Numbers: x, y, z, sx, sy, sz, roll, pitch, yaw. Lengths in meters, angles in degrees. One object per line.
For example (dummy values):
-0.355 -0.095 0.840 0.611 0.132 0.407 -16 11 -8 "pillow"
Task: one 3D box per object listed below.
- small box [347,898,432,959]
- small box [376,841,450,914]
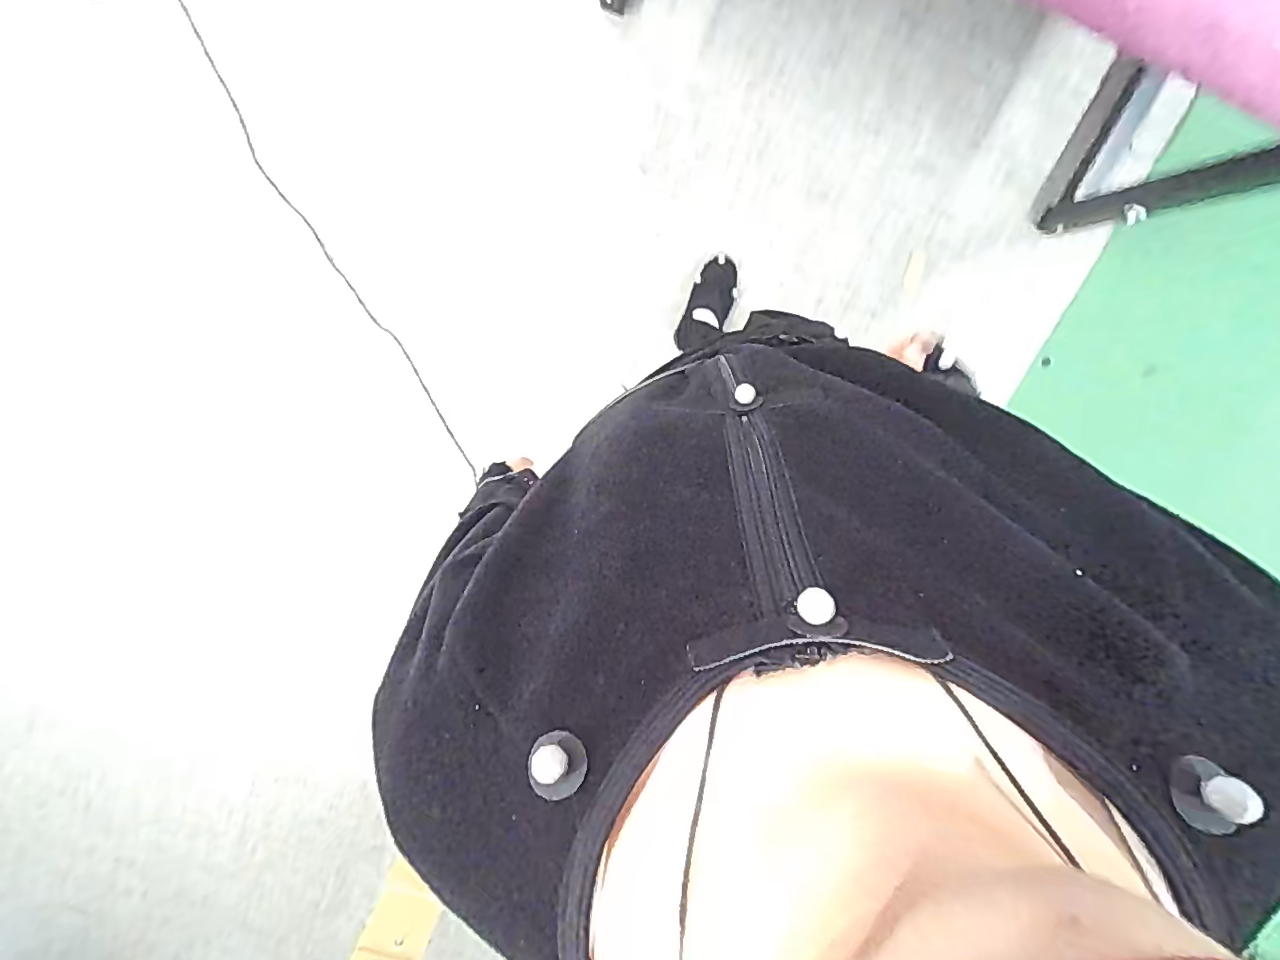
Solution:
-0.708 1.321 1.512 0.179 0.176 0.168 21 107 -3 "small box"
-0.707 1.265 1.667 0.168 0.176 0.179 20 106 -3 "small box"
